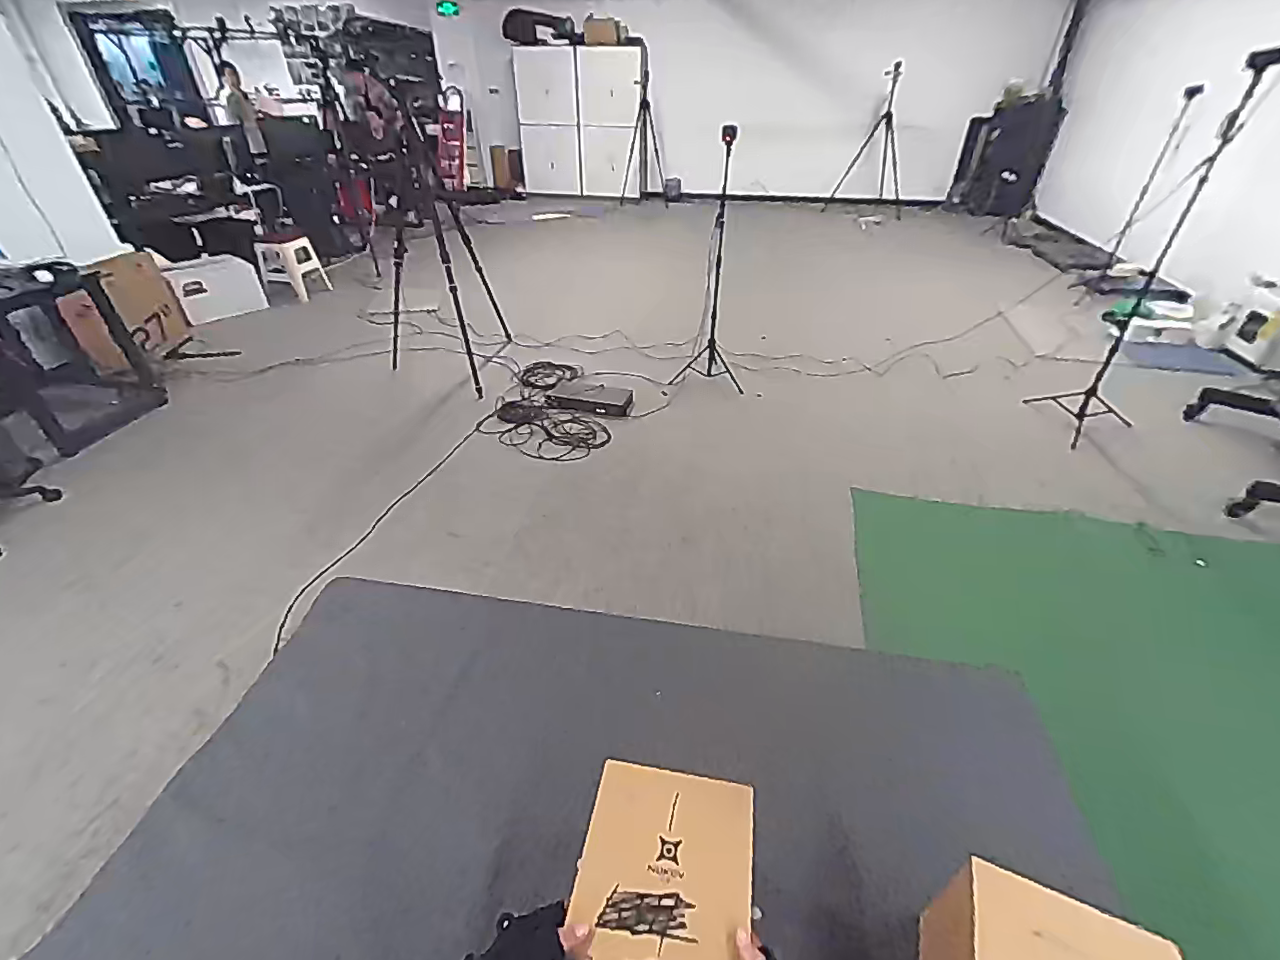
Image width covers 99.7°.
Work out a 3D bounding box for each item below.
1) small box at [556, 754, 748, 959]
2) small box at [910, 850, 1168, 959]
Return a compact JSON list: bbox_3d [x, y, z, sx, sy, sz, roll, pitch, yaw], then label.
[{"bbox_3d":[0.022,0.431,0.571,0.168,0.176,0.179,6,33,9],"label":"small box"},{"bbox_3d":[0.356,0.499,0.495,0.168,0.176,0.179,16,38,19],"label":"small box"}]
